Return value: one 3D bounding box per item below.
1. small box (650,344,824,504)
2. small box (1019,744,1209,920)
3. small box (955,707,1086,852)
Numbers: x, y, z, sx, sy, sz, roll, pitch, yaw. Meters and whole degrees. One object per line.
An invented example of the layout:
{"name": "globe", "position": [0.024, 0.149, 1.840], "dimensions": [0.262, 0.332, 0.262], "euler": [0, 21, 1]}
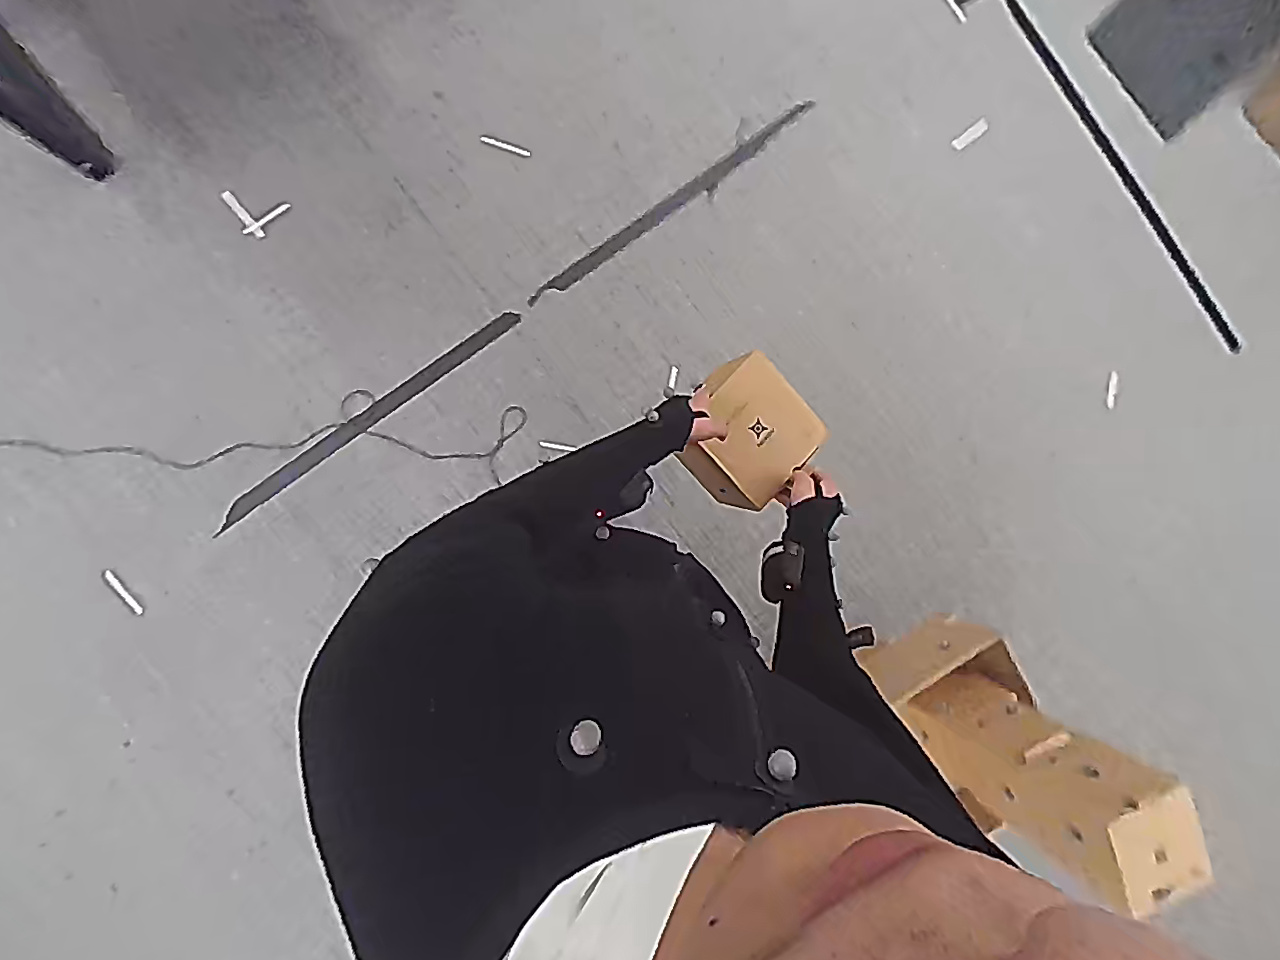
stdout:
{"name": "small box", "position": [0.144, -0.086, 0.856], "dimensions": [0.168, 0.176, 0.179], "euler": [-46, 102, -8]}
{"name": "small box", "position": [0.806, 0.589, 0.938], "dimensions": [0.168, 0.176, 0.179], "euler": [-18, 93, -8]}
{"name": "small box", "position": [0.785, 0.592, 1.101], "dimensions": [0.168, 0.176, 0.179], "euler": [-22, 94, -8]}
